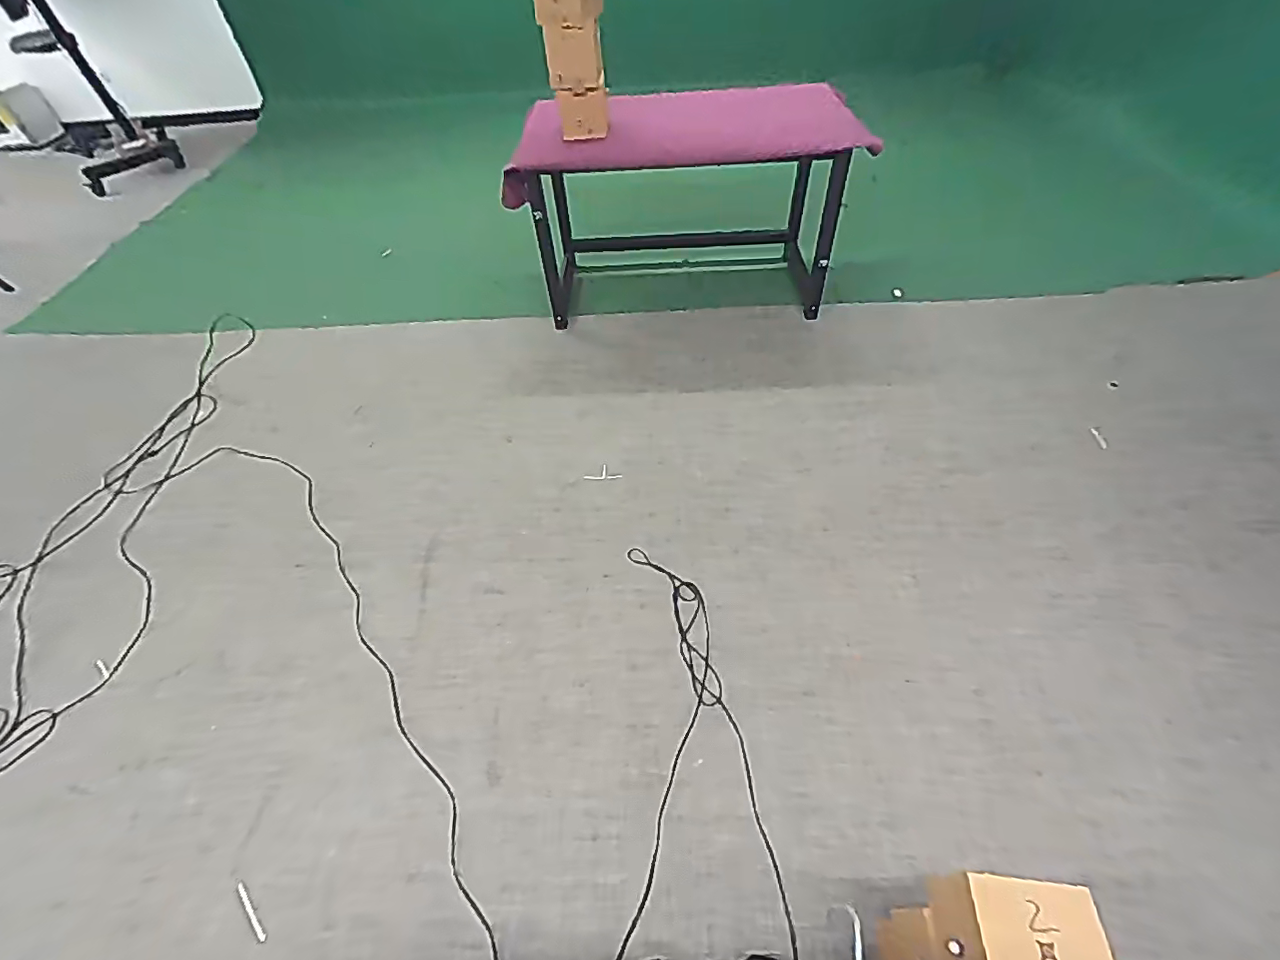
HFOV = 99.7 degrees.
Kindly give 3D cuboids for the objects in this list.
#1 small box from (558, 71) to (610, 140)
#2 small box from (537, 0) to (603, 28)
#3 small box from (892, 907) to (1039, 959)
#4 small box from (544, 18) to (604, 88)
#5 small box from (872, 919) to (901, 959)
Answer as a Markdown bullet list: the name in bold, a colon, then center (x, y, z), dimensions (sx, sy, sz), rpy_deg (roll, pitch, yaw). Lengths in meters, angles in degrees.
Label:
- **small box**: center (-0.201, -1.371, 1.981), dimensions (0.168, 0.176, 0.179), rpy_deg (-3, 52, 1)
- **small box**: center (-0.225, -1.566, 1.718), dimensions (0.168, 0.176, 0.179), rpy_deg (15, 55, 14)
- **small box**: center (0.540, 0.818, 0.887), dimensions (0.168, 0.176, 0.179), rpy_deg (-1, 51, 2)
- **small box**: center (-0.218, -1.461, 1.844), dimensions (0.168, 0.176, 0.179), rpy_deg (1, 51, 4)
- **small box**: center (0.550, 0.936, 1.003), dimensions (0.168, 0.176, 0.179), rpy_deg (2, 51, 4)
